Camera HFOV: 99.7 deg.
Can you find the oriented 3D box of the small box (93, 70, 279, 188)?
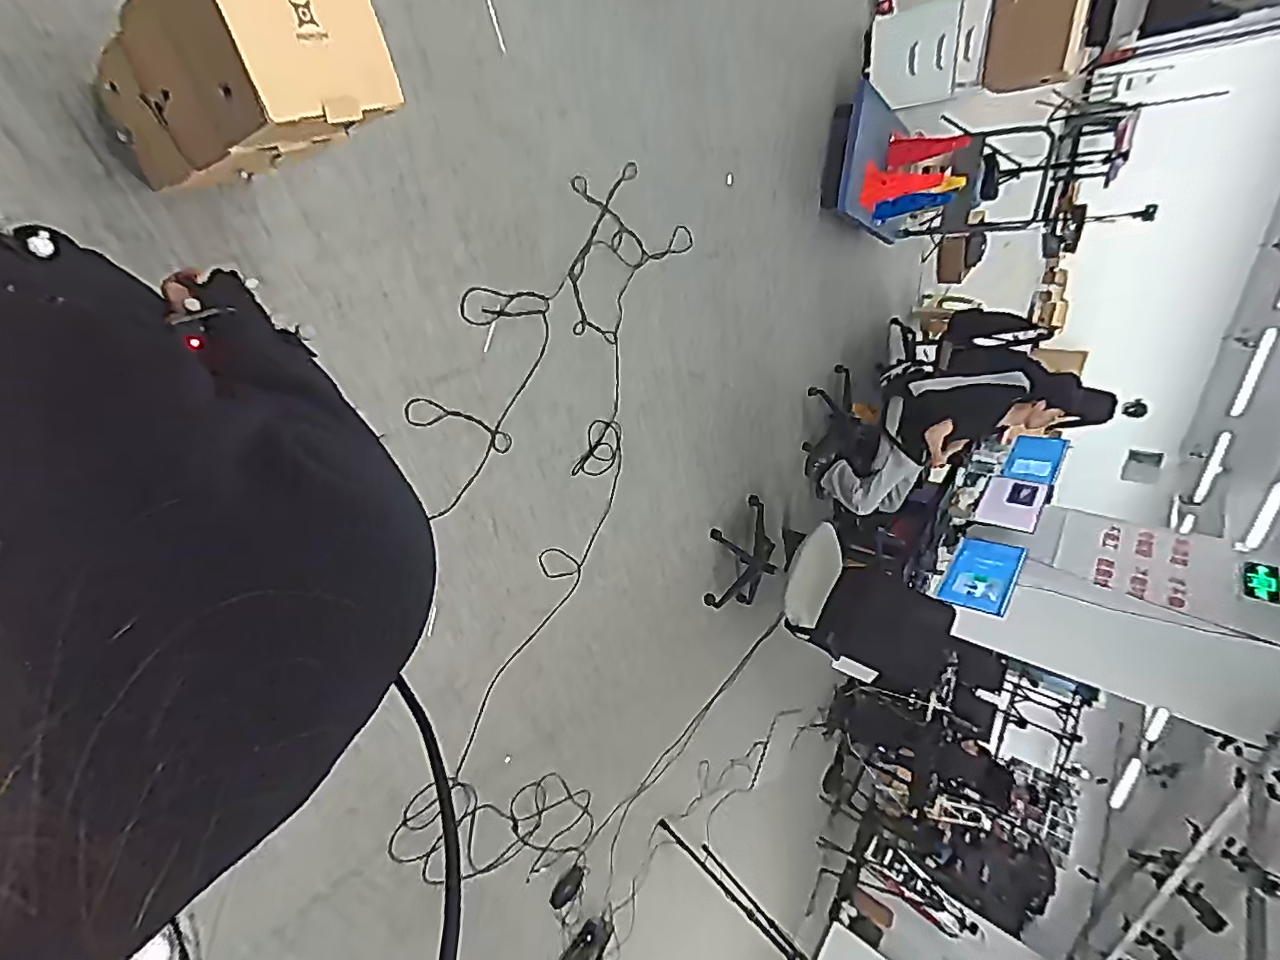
[{"bbox_3d":[-0.780,-0.616,0.933,0.179,0.176,0.168,-39,129,-37],"label":"small box"}]

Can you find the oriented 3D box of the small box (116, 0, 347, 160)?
[{"bbox_3d":[-0.539,-0.542,0.724,0.168,0.176,0.179,-40,132,-37],"label":"small box"}]

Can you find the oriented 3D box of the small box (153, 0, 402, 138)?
[{"bbox_3d":[-0.417,-0.511,0.622,0.168,0.176,0.179,-40,130,-35],"label":"small box"}]

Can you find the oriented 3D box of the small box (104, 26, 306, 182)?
[{"bbox_3d":[-0.664,-0.571,0.827,0.179,0.176,0.168,-41,132,-35],"label":"small box"}]
